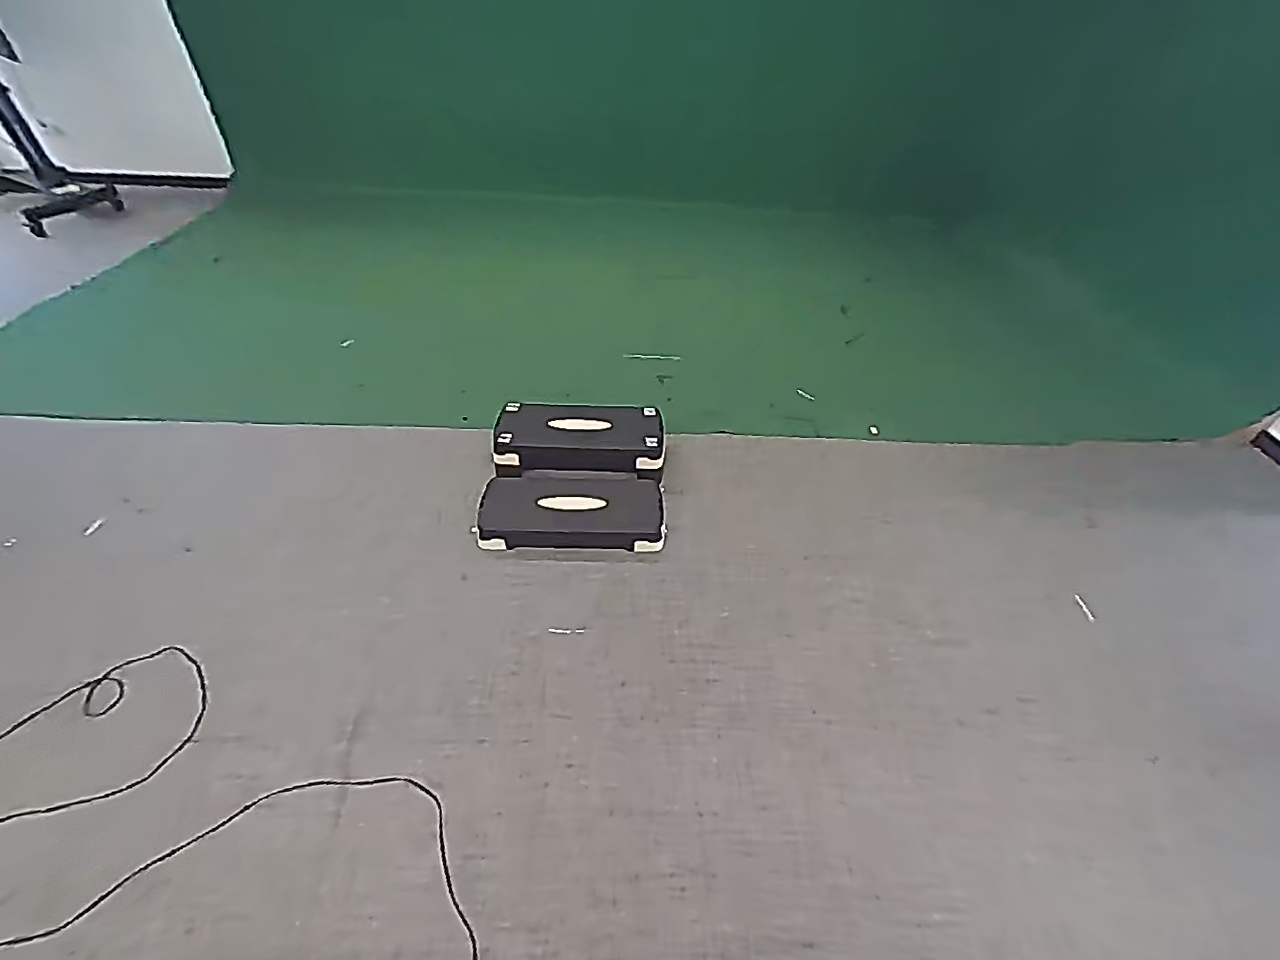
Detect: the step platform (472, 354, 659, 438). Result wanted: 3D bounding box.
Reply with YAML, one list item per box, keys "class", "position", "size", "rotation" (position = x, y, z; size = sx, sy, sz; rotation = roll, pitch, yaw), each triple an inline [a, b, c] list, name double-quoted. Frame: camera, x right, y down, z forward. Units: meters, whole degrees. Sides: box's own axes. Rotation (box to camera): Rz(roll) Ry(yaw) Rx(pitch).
- class: "step platform"
  position: [-0.274, -0.319, 2.071]
  size: [0.684, 0.204, 0.286]
  rotation: [1, 44, -2]
